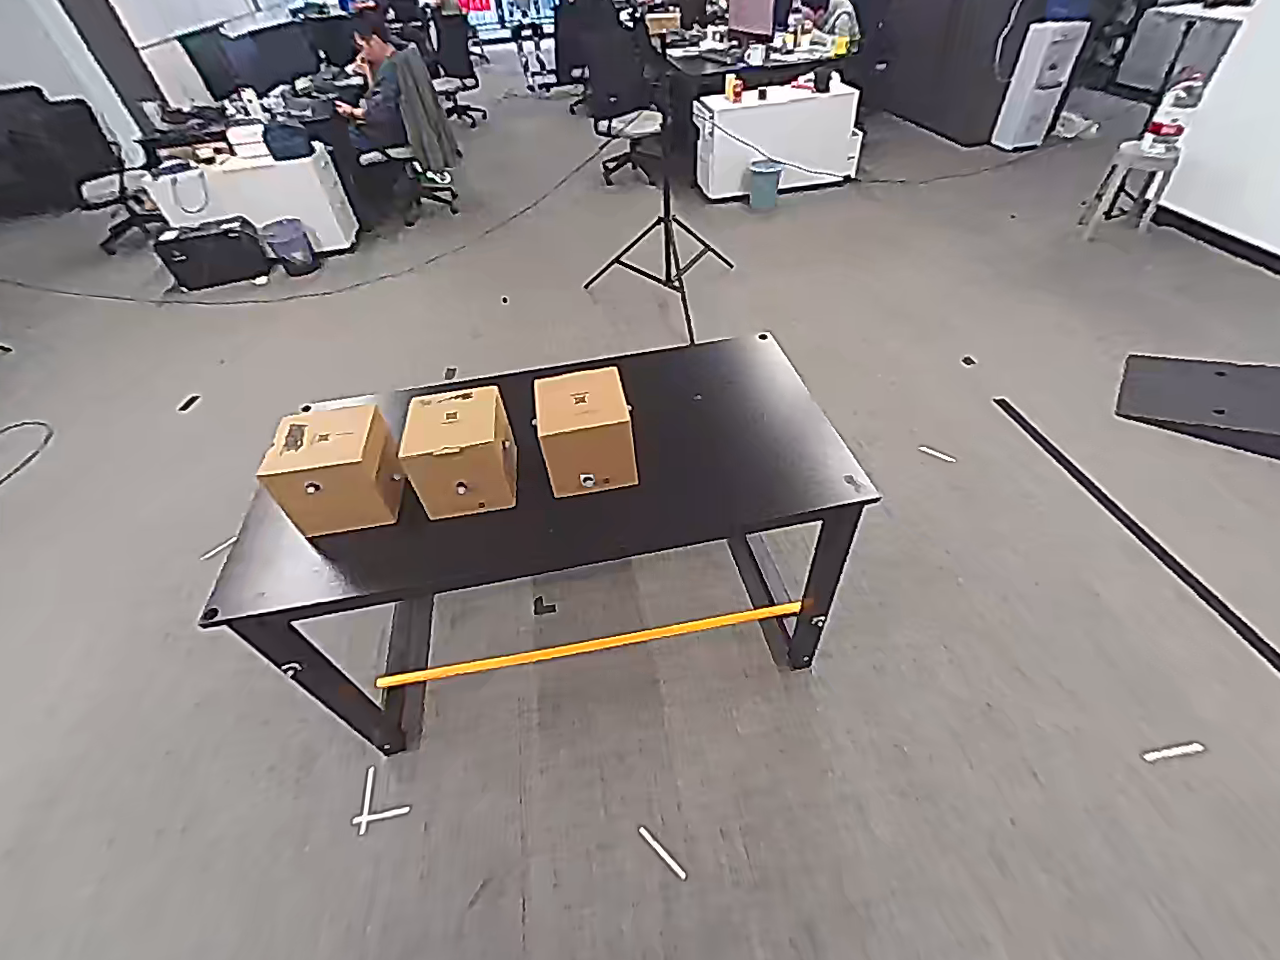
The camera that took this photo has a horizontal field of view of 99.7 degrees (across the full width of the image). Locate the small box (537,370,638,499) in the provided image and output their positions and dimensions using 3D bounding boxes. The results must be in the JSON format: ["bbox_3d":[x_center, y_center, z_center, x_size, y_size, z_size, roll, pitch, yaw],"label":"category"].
[{"bbox_3d":[-0.103,-0.089,1.064,0.168,0.176,0.179,-11,47,-4],"label":"small box"}]

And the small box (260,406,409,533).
[{"bbox_3d":[-0.567,-0.016,1.031,0.179,0.176,0.168,-9,46,-5],"label":"small box"}]

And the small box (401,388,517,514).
[{"bbox_3d":[-0.337,-0.049,1.045,0.168,0.176,0.179,-9,46,-3],"label":"small box"}]
